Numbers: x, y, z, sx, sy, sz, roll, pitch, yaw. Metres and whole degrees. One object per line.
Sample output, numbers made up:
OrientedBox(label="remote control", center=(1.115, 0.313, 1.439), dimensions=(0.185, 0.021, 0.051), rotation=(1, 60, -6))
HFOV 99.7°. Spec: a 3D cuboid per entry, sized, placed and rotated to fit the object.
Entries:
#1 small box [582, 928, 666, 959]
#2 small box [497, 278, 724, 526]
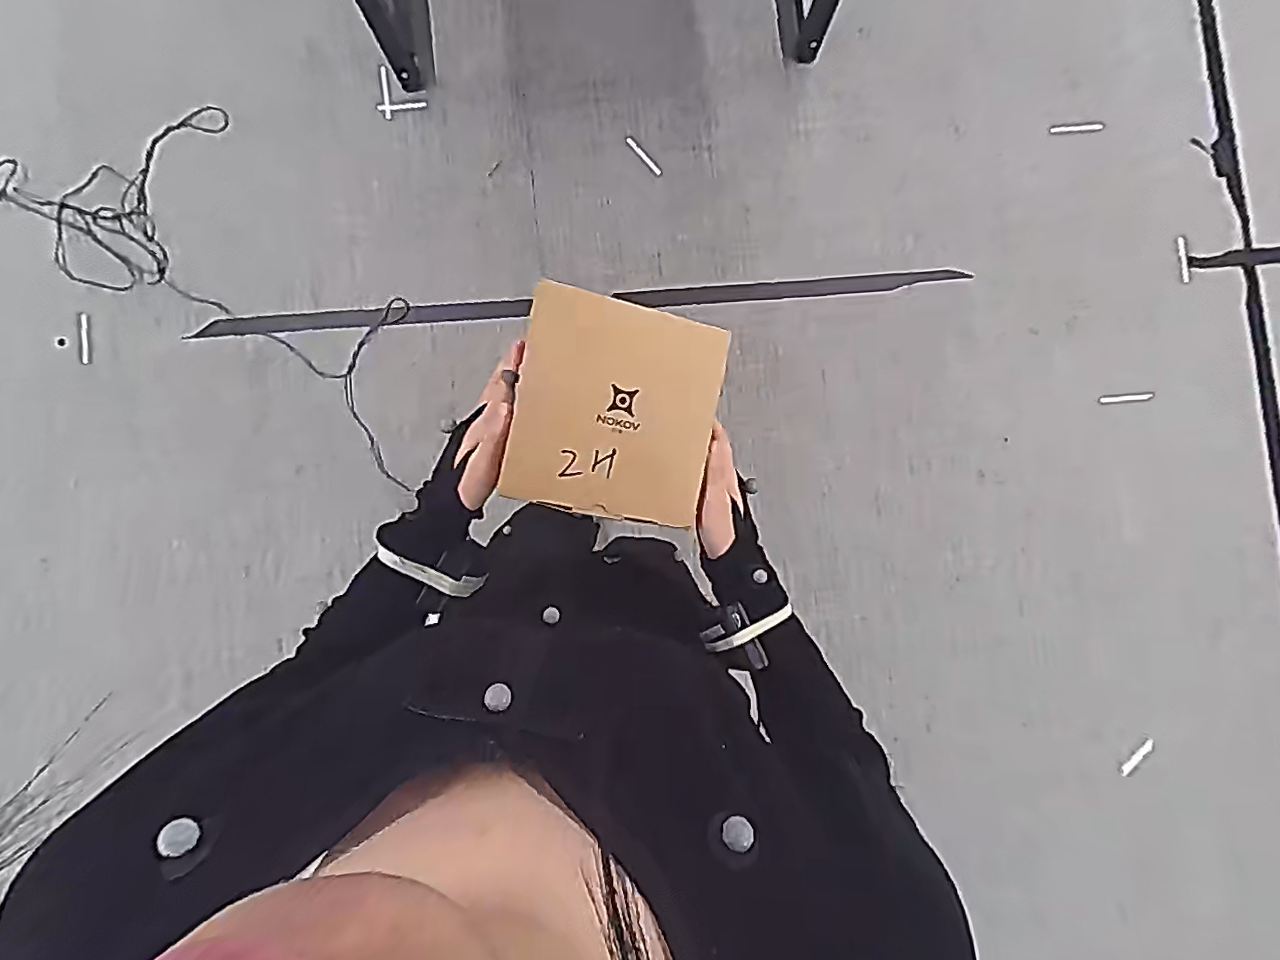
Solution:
OrientedBox(label="small box", center=(-0.028, 1.048, 1.087), dimensions=(0.179, 0.176, 0.168), rotation=(-6, 87, -1))
OrientedBox(label="small box", center=(-0.039, -0.063, 0.520), dimensions=(0.168, 0.176, 0.179), rotation=(11, 90, -14))
